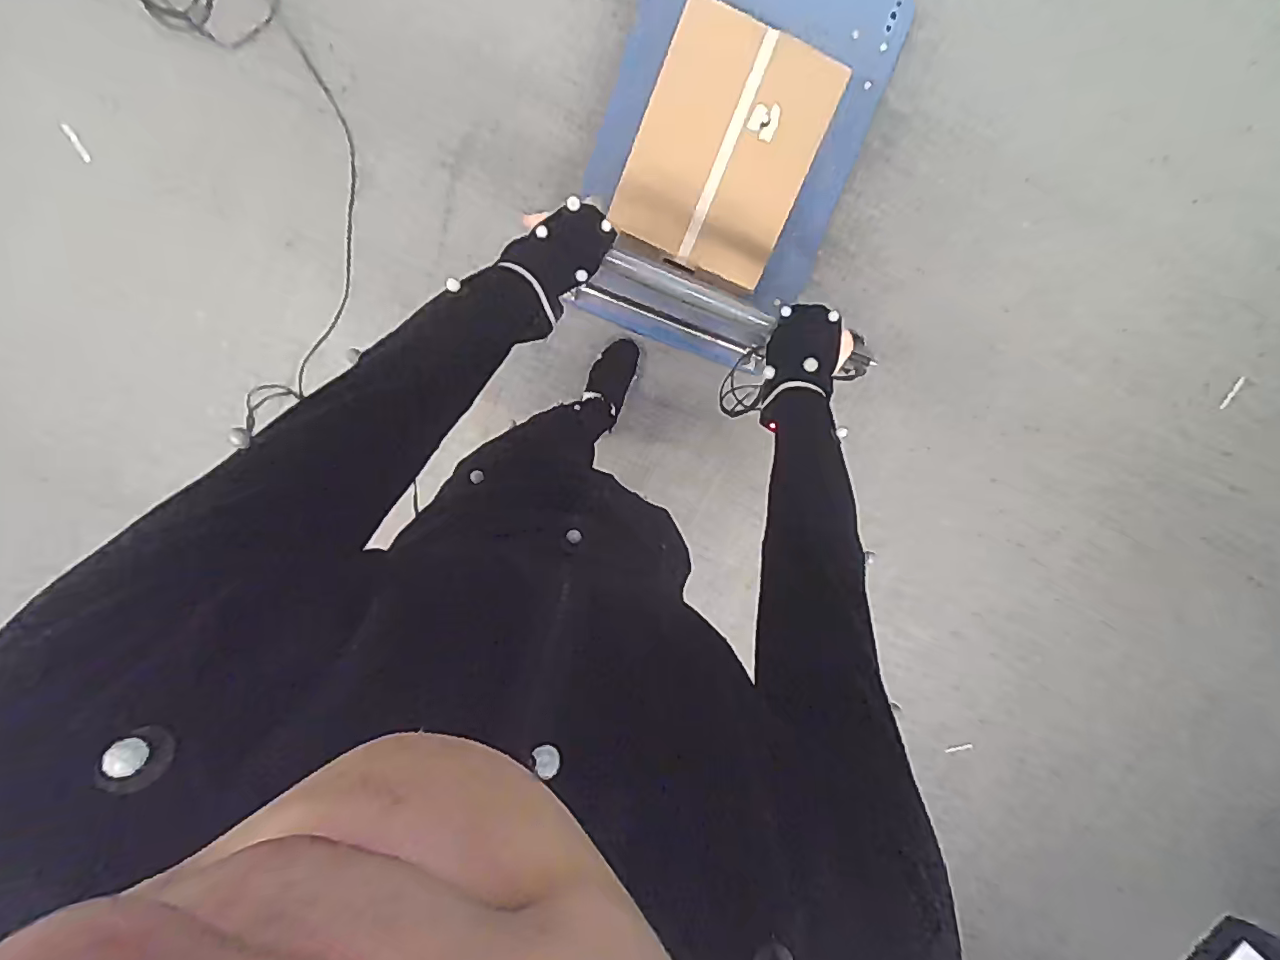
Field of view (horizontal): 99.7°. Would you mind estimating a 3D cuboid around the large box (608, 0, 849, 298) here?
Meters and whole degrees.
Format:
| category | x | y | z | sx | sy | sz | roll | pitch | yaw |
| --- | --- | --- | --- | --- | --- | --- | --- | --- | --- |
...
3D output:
| category | x | y | z | sx | sy | sz | roll | pitch | yaw |
| --- | --- | --- | --- | --- | --- | --- | --- | --- | --- |
| large box | 0.148 | -0.634 | 1.112 | 0.320 | 0.320 | 0.408 | 22 | 102 | -8 |
